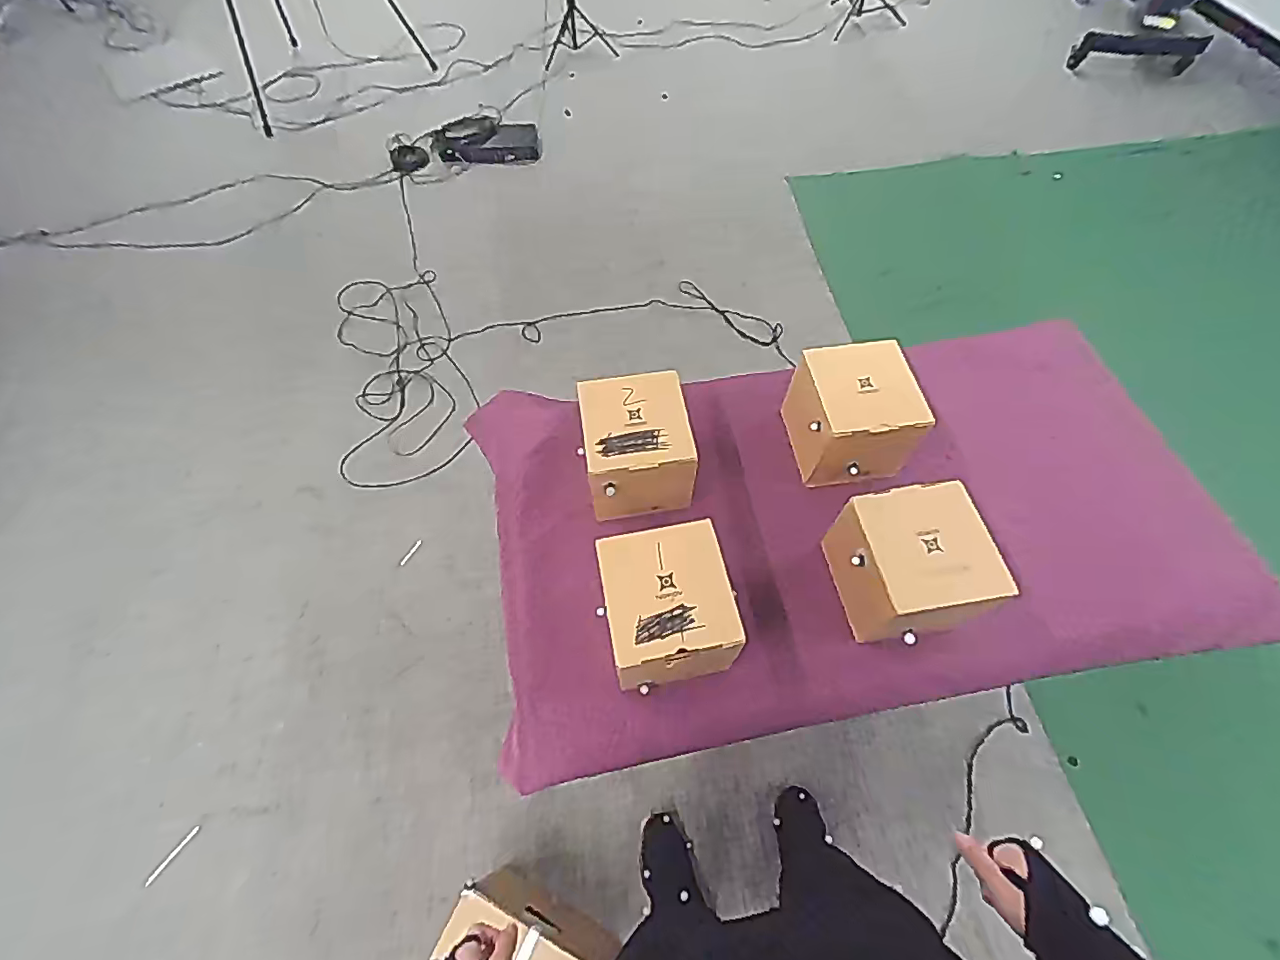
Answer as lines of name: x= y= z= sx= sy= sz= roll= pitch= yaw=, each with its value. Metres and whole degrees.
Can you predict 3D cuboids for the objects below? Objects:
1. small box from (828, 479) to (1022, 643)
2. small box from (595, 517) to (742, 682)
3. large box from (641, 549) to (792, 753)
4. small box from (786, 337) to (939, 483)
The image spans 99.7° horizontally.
small box: x=0.394 y=0.122 z=0.789 sx=0.168 sy=0.176 sz=0.179 roll=-8 pitch=60 yaw=-2
small box: x=0.036 y=0.177 z=0.764 sx=0.168 sy=0.176 sz=0.179 roll=-9 pitch=59 yaw=-4
large box: x=0.150 y=0.440 z=1.375 sx=0.320 sy=0.320 sz=0.408 roll=-9 pitch=60 yaw=-4
small box: x=0.363 y=-0.116 z=0.923 sx=0.168 sy=0.176 sz=0.179 roll=-7 pitch=62 yaw=-3
